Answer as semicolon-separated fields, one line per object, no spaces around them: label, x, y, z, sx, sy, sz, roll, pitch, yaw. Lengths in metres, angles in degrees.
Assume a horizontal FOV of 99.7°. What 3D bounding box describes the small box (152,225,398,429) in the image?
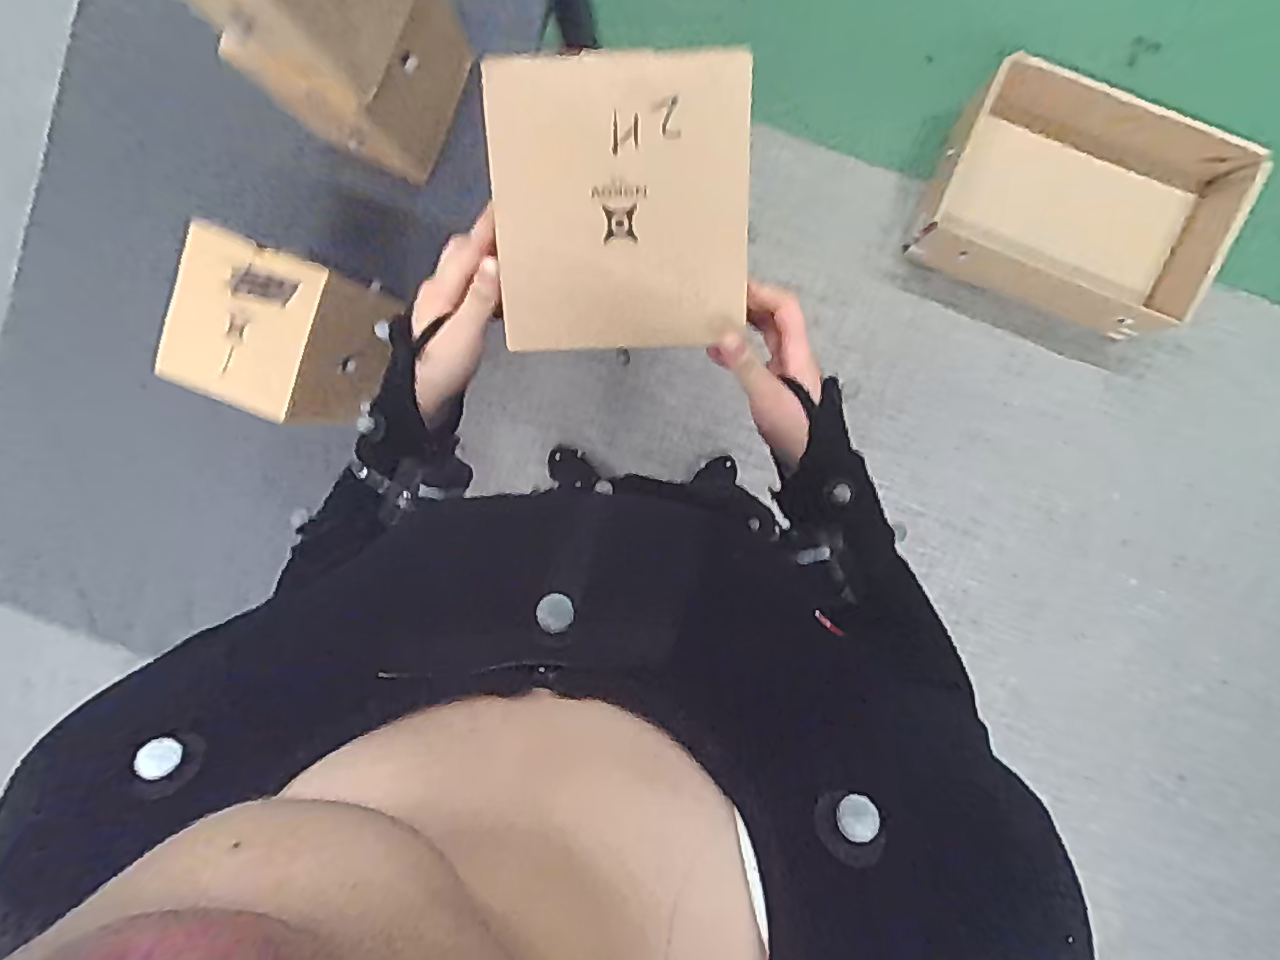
small box;-0.427;-0.173;0.663;0.168;0.176;0.179;21;98;2

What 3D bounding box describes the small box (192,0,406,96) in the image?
small box;-0.319;-0.486;0.464;0.168;0.176;0.179;26;97;0

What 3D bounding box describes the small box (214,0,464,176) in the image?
small box;-0.330;-0.497;0.629;0.168;0.176;0.179;23;95;0
